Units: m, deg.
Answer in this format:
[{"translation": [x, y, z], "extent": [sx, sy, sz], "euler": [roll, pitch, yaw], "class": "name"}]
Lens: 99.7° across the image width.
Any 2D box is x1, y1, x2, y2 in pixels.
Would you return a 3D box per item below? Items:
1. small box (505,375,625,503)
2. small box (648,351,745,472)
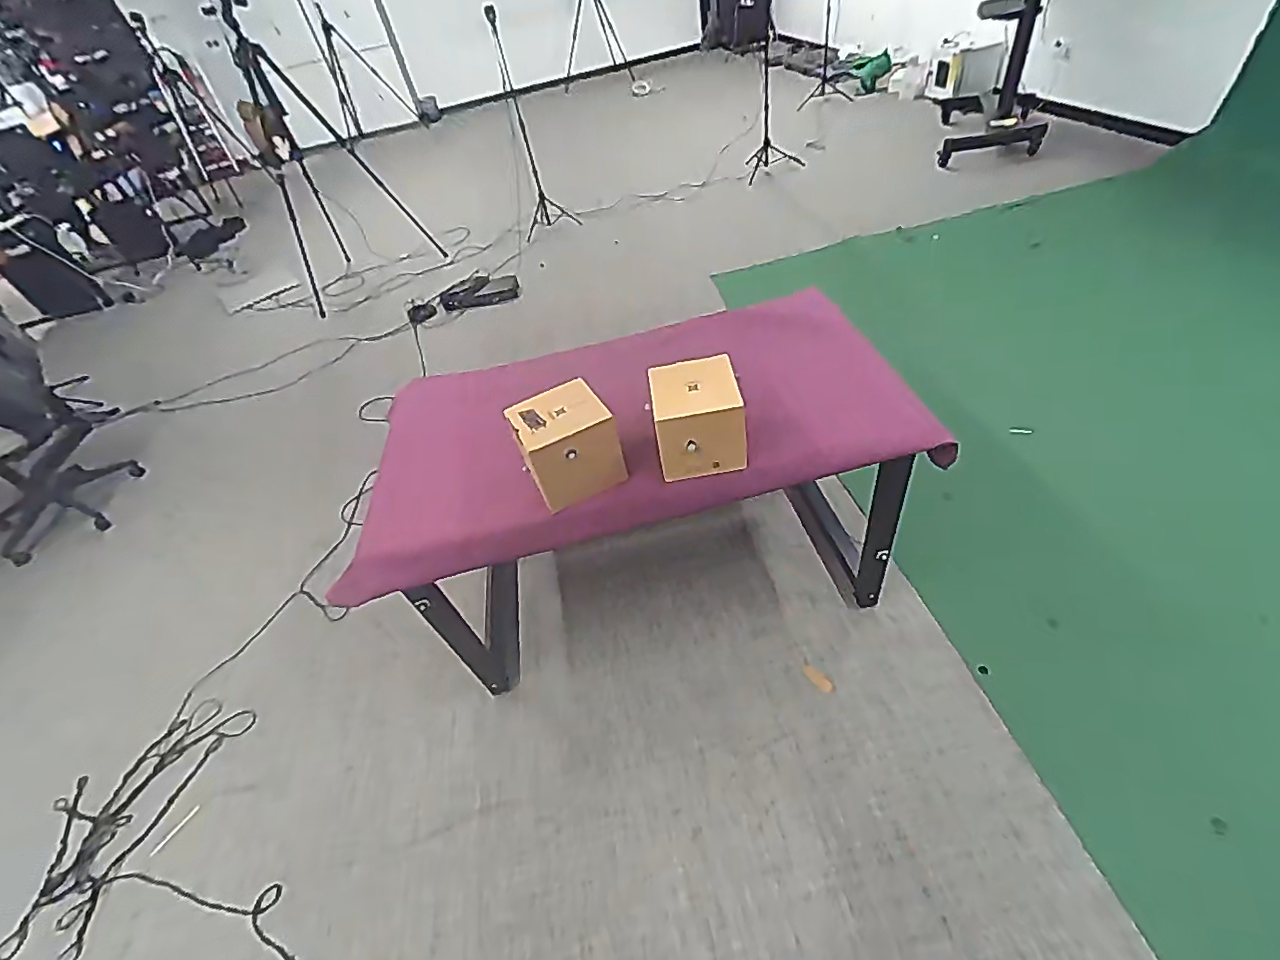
[{"translation": [-0.149, -0.081, 1.105], "extent": [0.179, 0.176, 0.168], "euler": [-25, 45, -13], "class": "small box"}, {"translation": [0.114, -0.131, 1.094], "extent": [0.168, 0.176, 0.179], "euler": [-10, 44, 4], "class": "small box"}]
